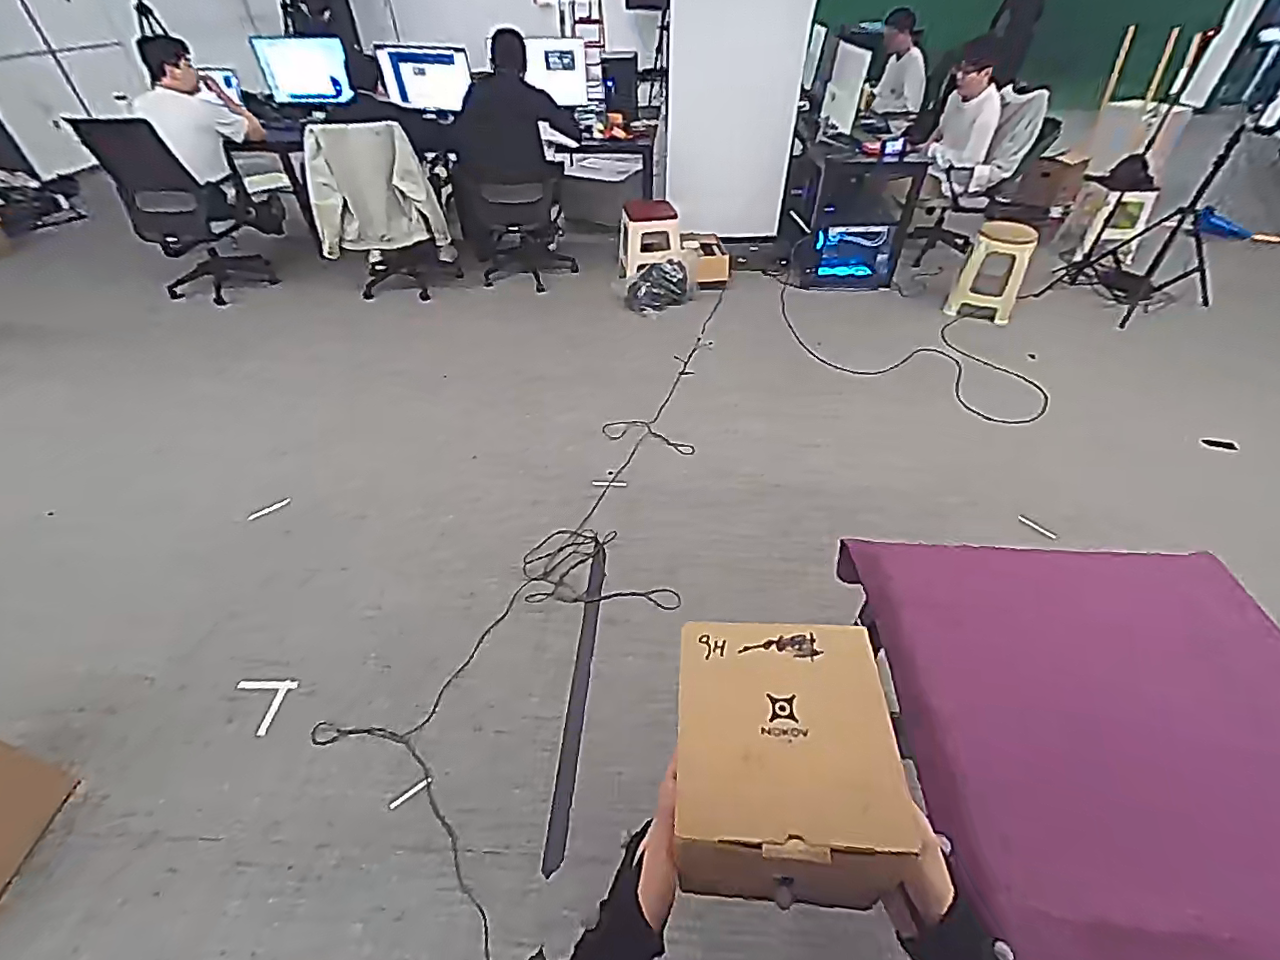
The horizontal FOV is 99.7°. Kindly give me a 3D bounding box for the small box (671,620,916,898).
[{"bbox_3d":[0.117,0.246,0.479,0.168,0.176,0.179,0,44,6],"label":"small box"}]
